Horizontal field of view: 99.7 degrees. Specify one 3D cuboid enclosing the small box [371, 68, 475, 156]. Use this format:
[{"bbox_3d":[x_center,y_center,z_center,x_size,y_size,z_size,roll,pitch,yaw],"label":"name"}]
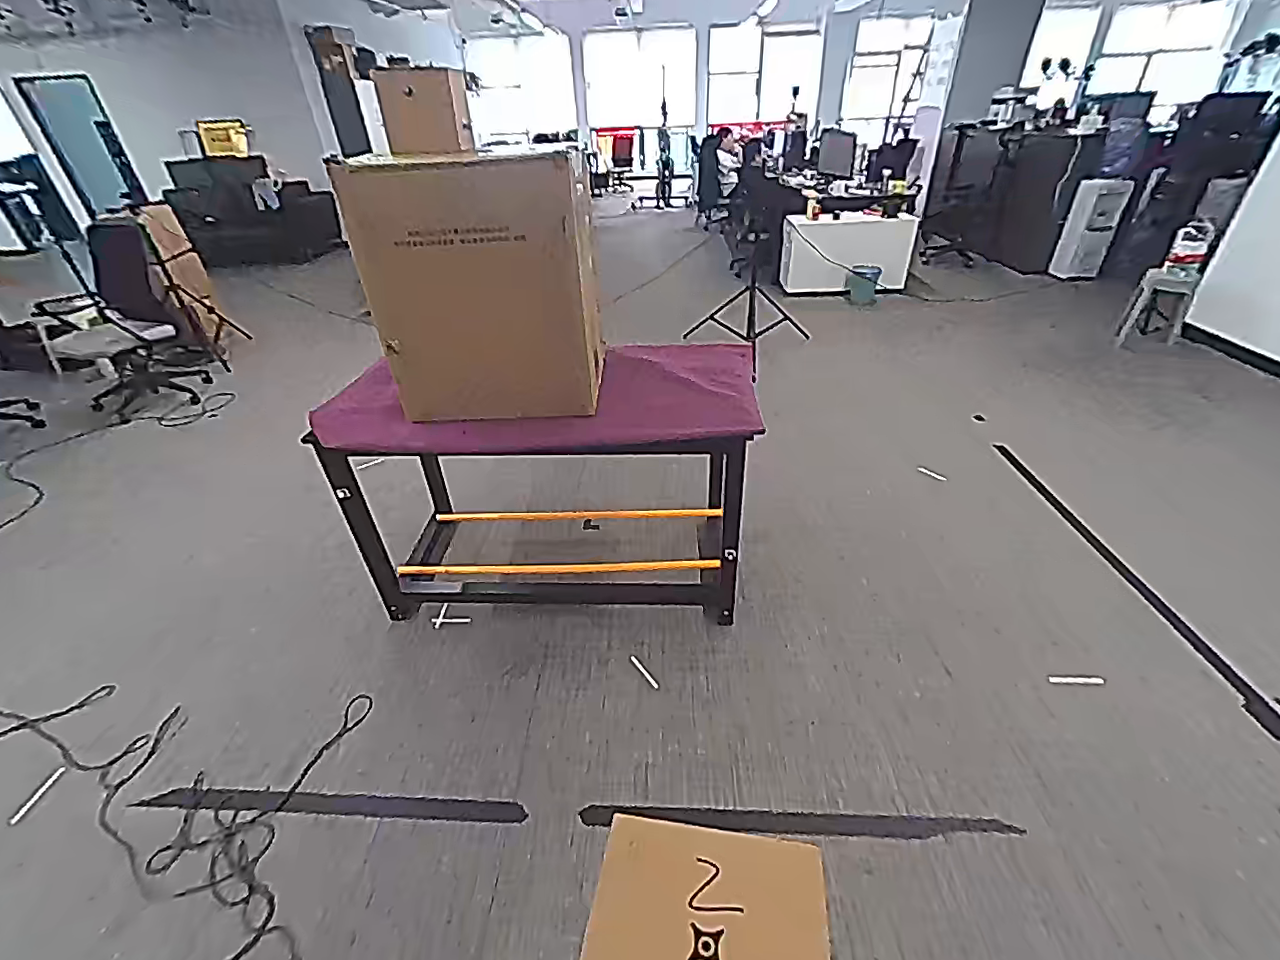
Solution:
[{"bbox_3d":[-0.524,-0.901,1.333,0.179,0.176,0.168,-2,35,-1],"label":"small box"}]
